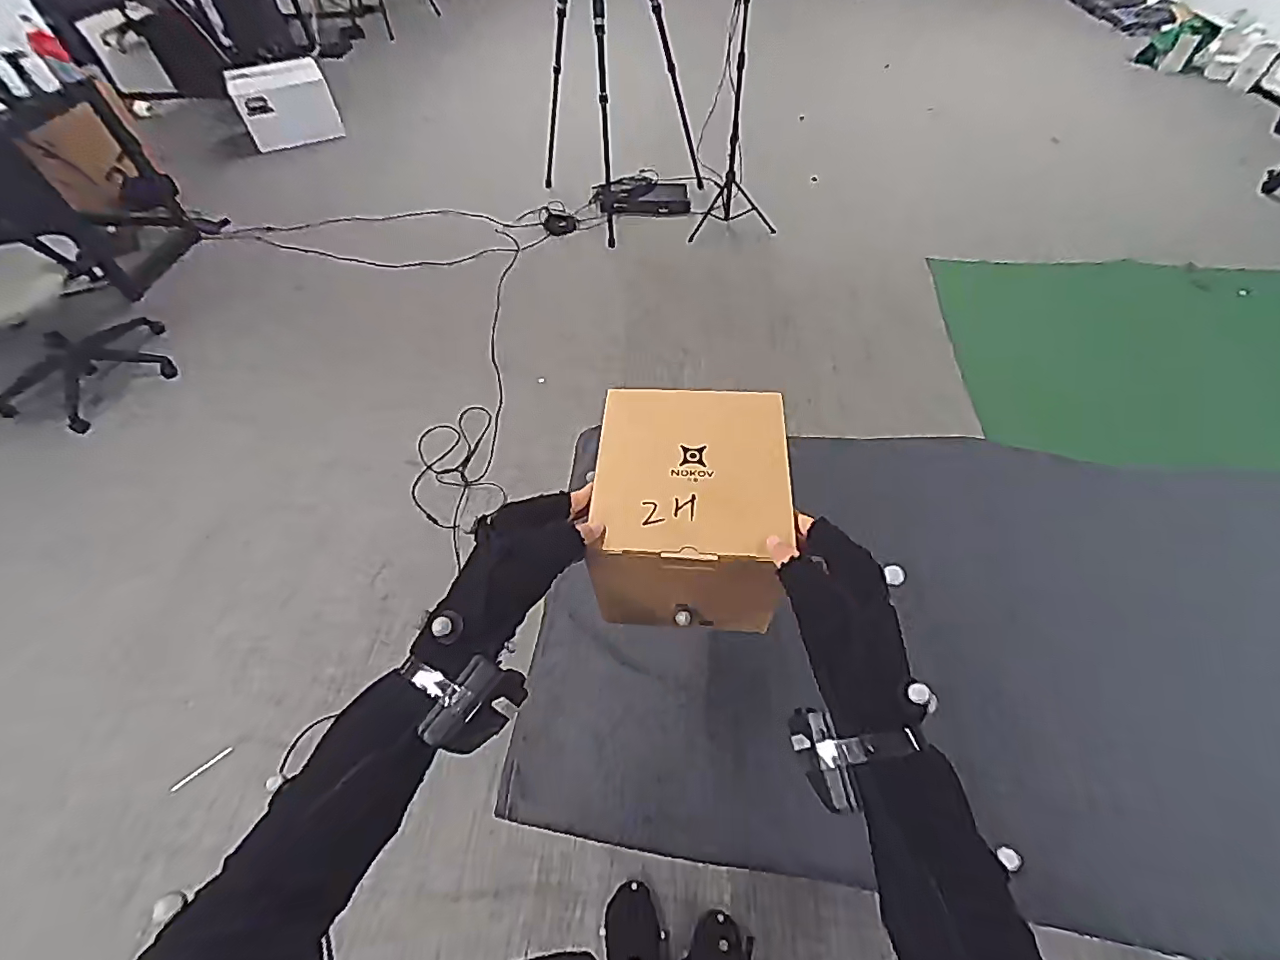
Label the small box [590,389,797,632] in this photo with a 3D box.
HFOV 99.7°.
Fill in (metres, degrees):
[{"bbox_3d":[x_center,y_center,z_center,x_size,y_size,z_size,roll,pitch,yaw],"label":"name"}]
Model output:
[{"bbox_3d":[0.051,0.032,0.534,0.168,0.176,0.179,2,55,5],"label":"small box"}]
